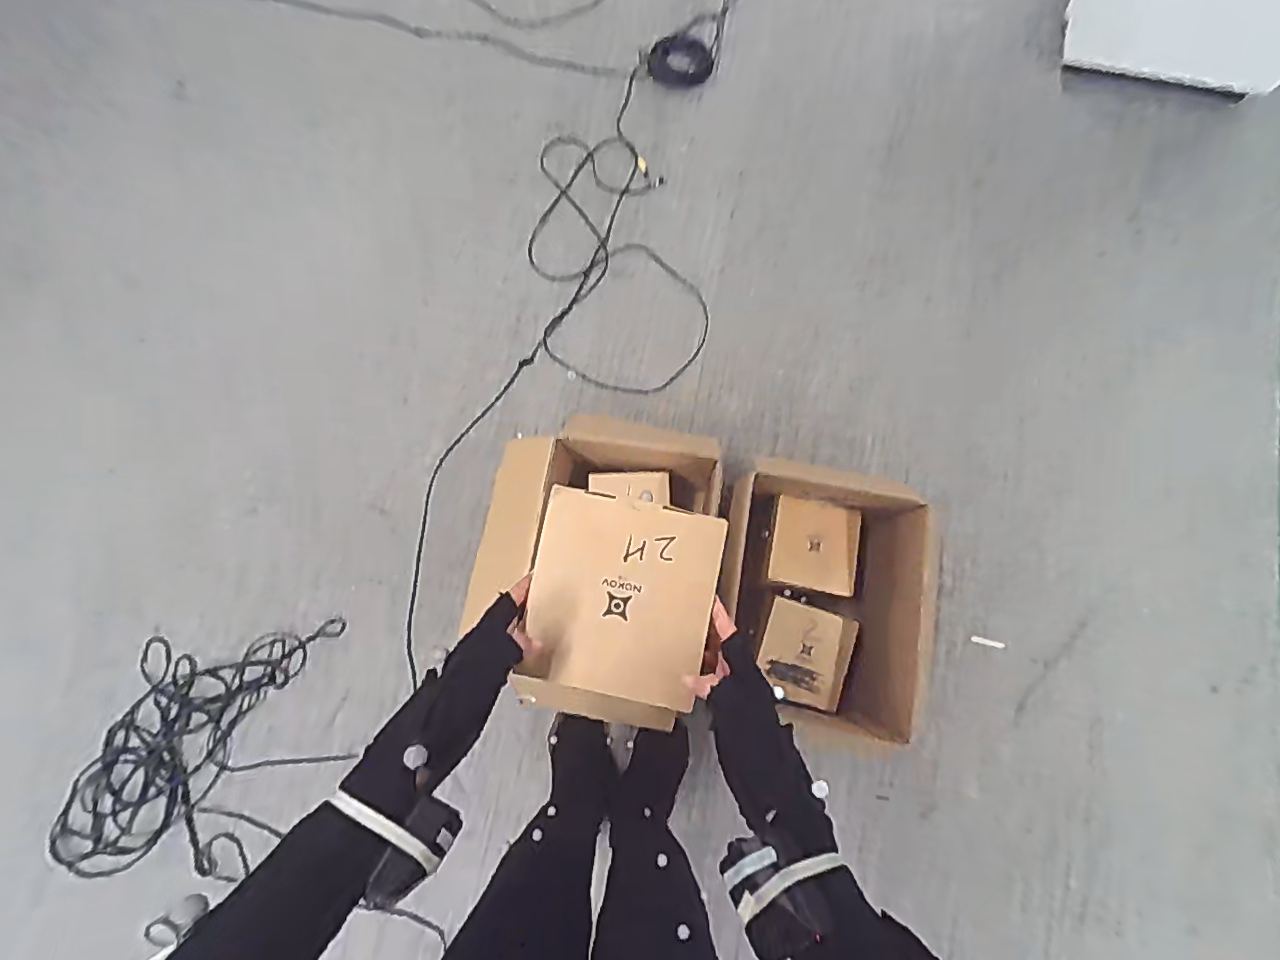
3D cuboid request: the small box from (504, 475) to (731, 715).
[{"bbox_3d":[-0.017,0.105,0.546,0.168,0.176,0.179,14,84,1],"label":"small box"}]
